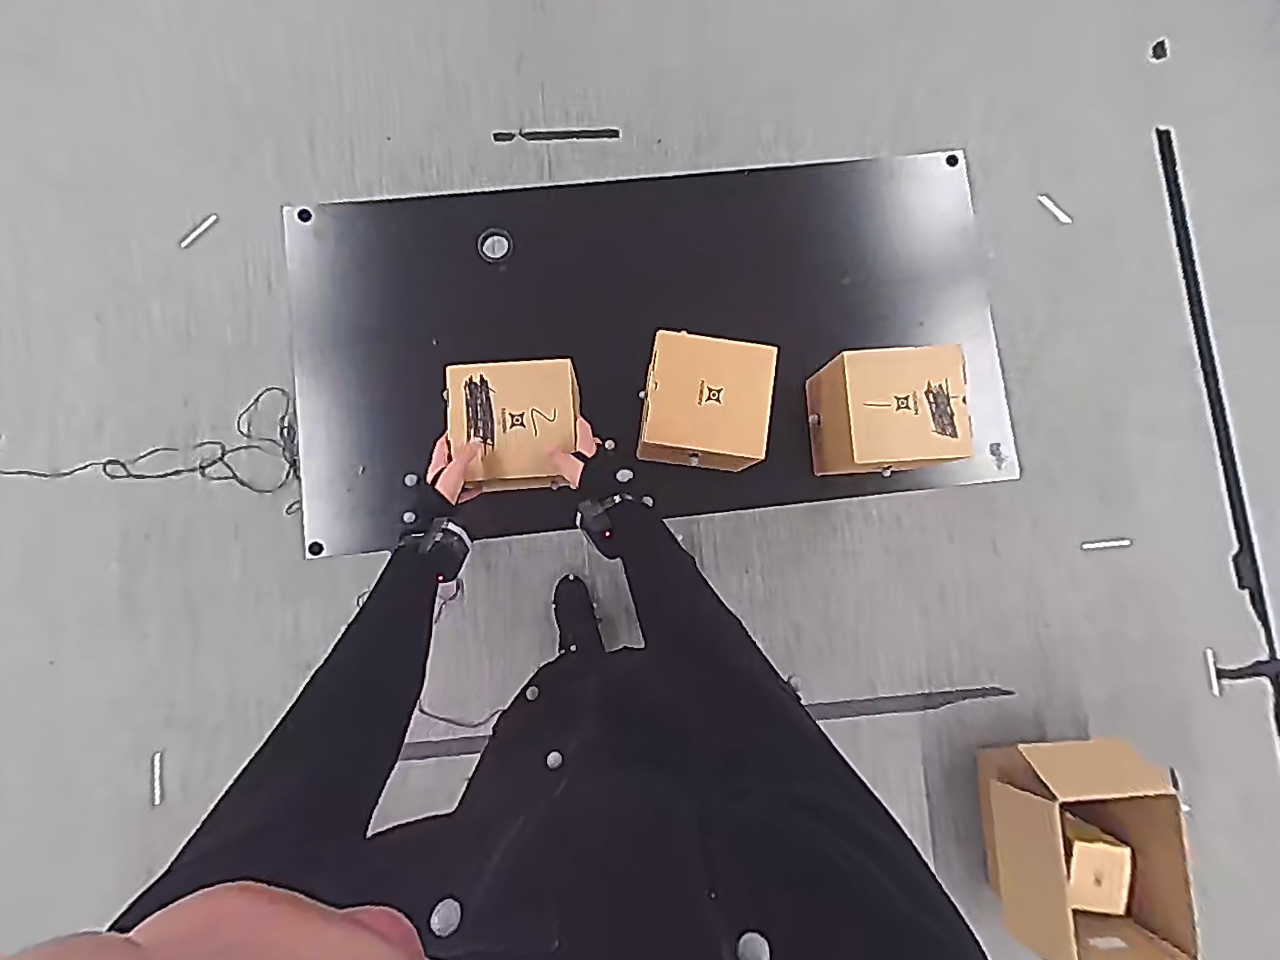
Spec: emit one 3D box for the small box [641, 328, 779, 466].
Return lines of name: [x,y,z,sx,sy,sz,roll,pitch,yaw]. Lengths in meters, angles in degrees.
small box: [0.099,-0.117,0.834,0.179,0.176,0.168,7,84,0]

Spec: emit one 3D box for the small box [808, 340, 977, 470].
small box: [0.379,-0.108,0.839,0.179,0.176,0.168,-4,85,-1]
